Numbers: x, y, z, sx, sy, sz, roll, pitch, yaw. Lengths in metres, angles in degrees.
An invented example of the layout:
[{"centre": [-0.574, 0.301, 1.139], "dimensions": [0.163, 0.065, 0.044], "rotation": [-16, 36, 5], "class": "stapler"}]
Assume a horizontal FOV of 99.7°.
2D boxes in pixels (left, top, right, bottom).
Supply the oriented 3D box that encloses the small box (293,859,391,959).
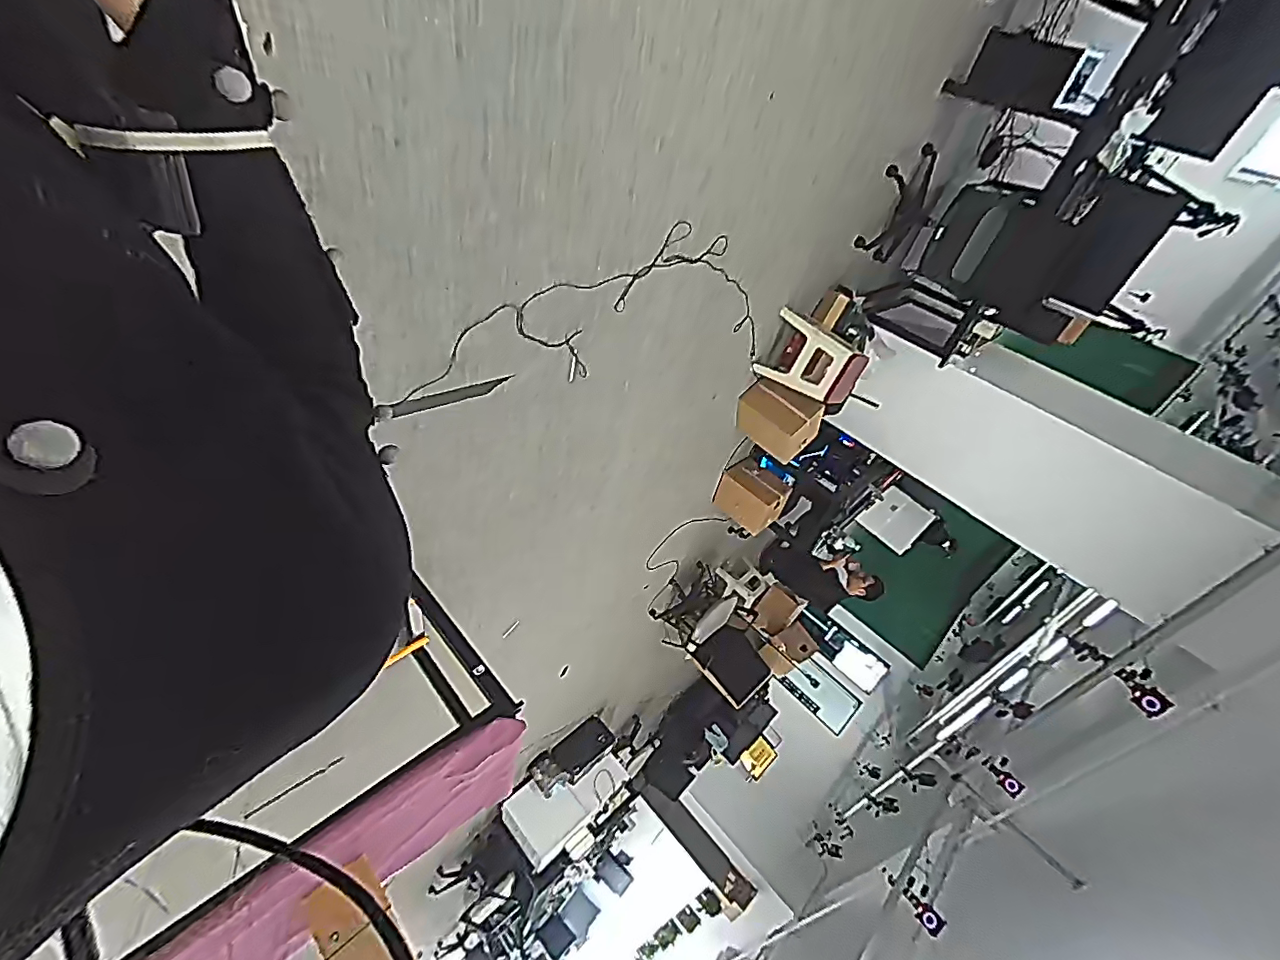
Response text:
[{"centre": [-0.807, 1.183, 1.471], "dimensions": [0.179, 0.176, 0.168], "rotation": [-26, 145, -39], "class": "small box"}]
